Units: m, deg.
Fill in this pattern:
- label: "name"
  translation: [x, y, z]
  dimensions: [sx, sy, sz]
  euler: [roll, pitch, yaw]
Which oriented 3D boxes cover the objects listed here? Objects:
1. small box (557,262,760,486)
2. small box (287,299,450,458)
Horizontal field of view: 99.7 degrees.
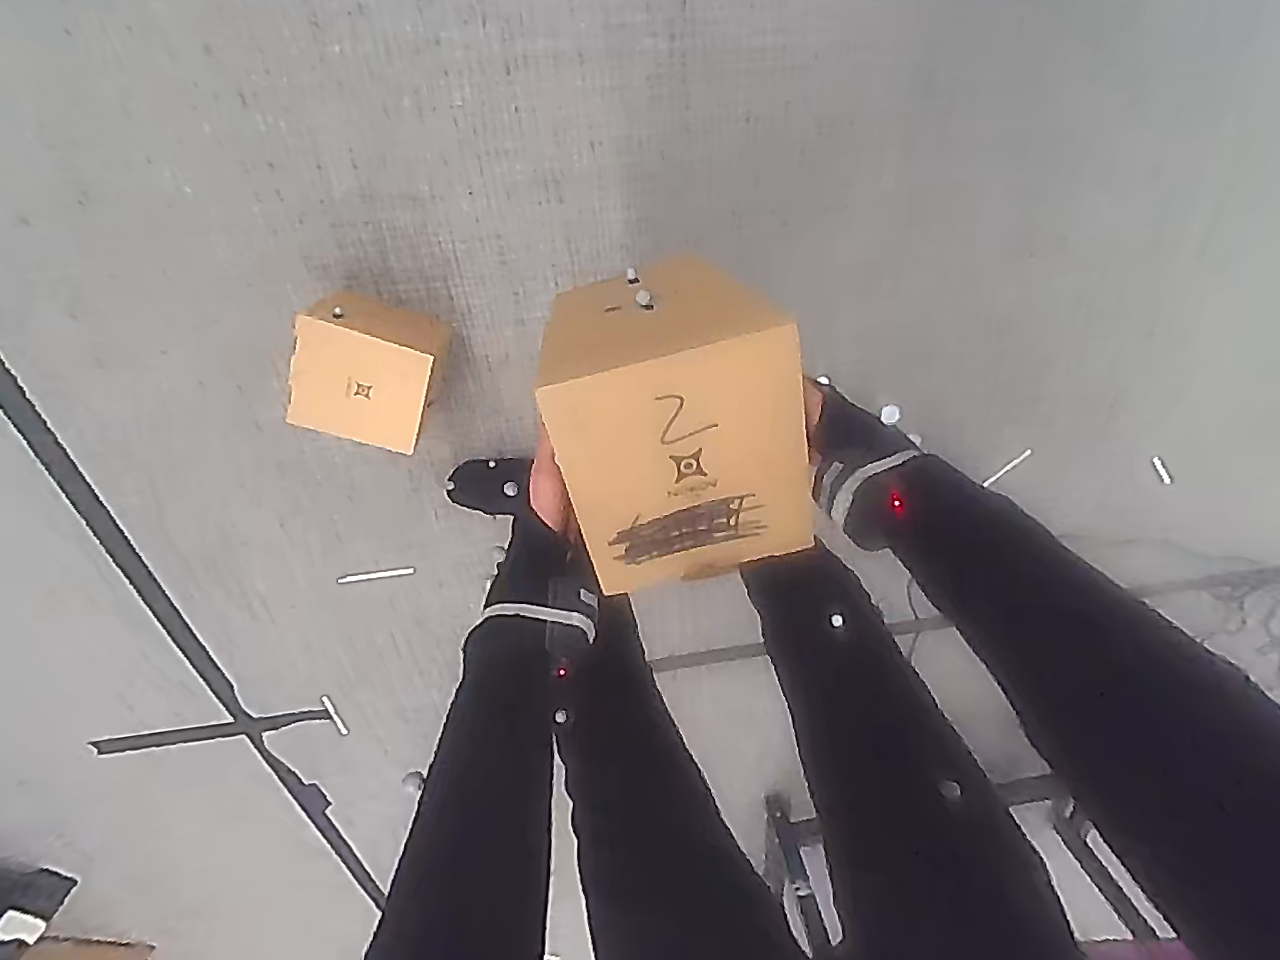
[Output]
- label: "small box"
  translation: [0.015, -0.124, 0.581]
  dimensions: [0.168, 0.176, 0.179]
  euler: [-16, 119, 2]
- label: "small box"
  translation: [-0.404, -0.160, 0.828]
  dimensions: [0.179, 0.176, 0.168]
  euler: [16, 116, -16]
